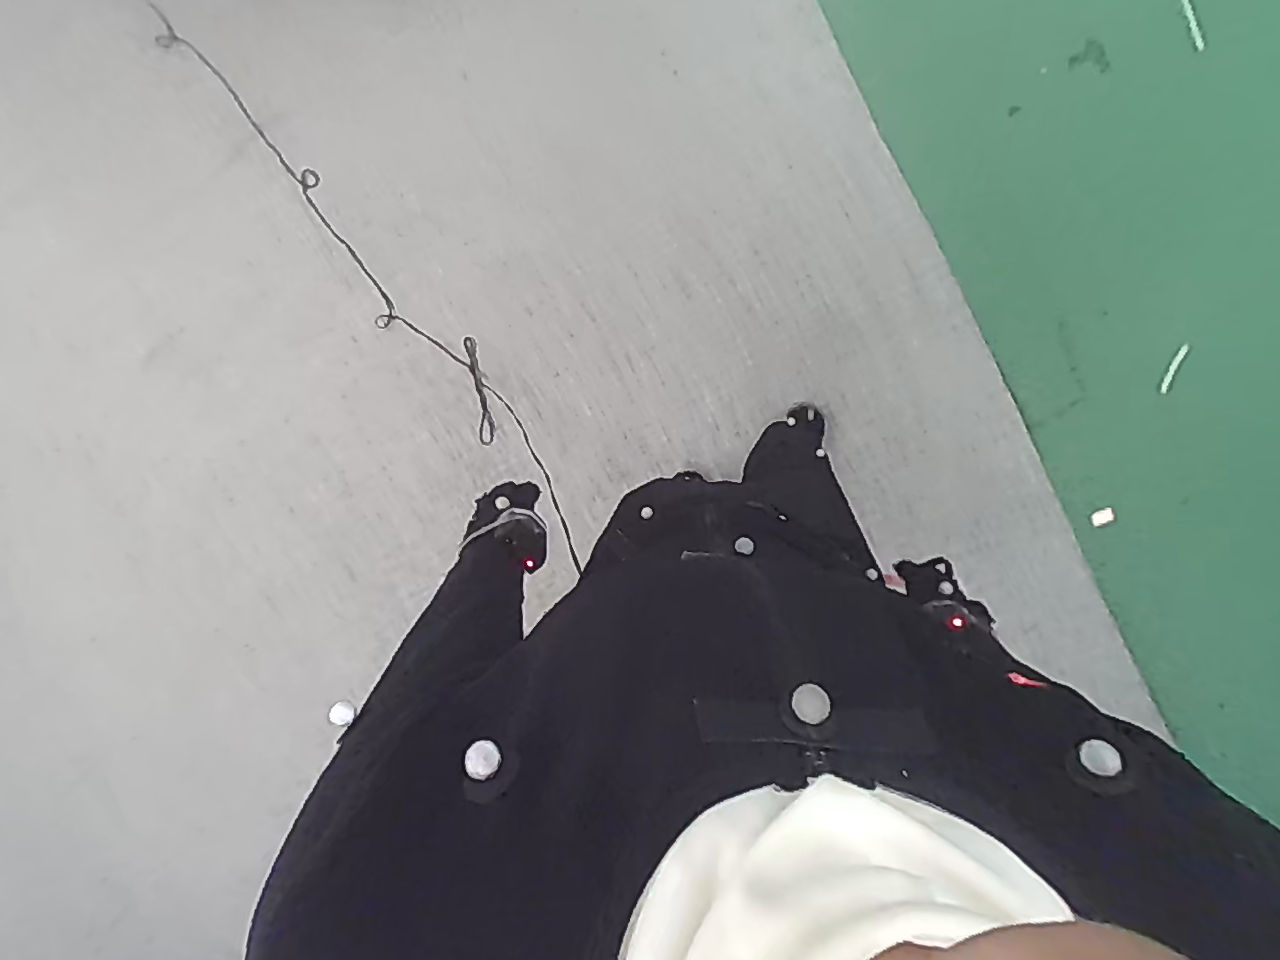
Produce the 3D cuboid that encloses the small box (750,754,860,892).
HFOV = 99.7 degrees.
[{"bbox_3d":[0.369,0.775,1.238,0.168,0.176,0.179,-29,91,6],"label":"small box"}]

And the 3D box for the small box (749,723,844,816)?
[{"bbox_3d":[0.394,0.772,1.400,0.179,0.176,0.168,-28,93,8],"label":"small box"}]
